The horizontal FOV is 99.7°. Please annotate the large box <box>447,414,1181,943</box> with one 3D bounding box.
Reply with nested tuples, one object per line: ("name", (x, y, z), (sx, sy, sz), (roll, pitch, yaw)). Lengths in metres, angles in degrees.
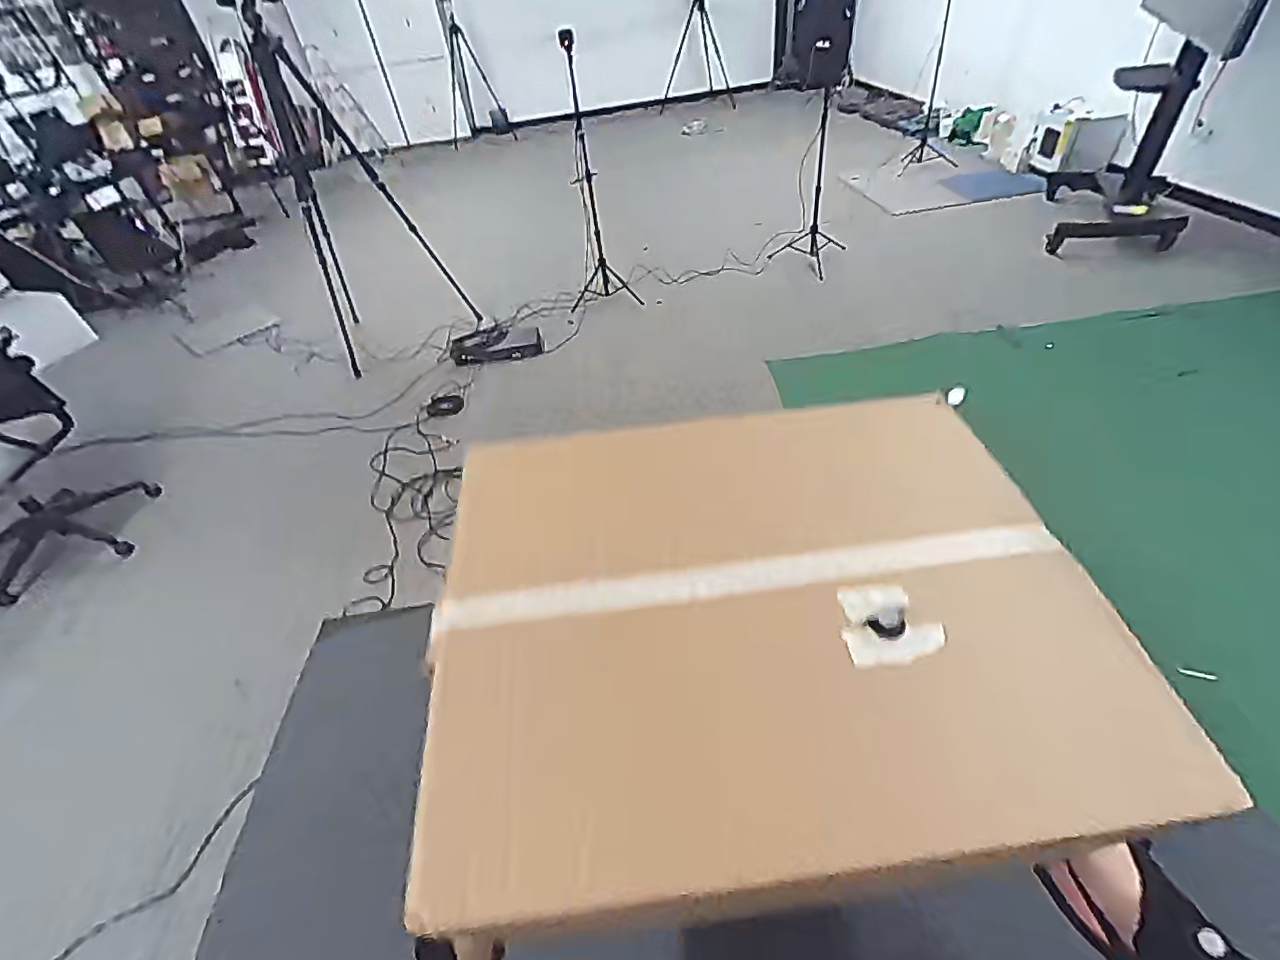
("large box", (0.084, 0.177, 0.487), (0.408, 0.320, 0.320), (-7, 48, -3))
